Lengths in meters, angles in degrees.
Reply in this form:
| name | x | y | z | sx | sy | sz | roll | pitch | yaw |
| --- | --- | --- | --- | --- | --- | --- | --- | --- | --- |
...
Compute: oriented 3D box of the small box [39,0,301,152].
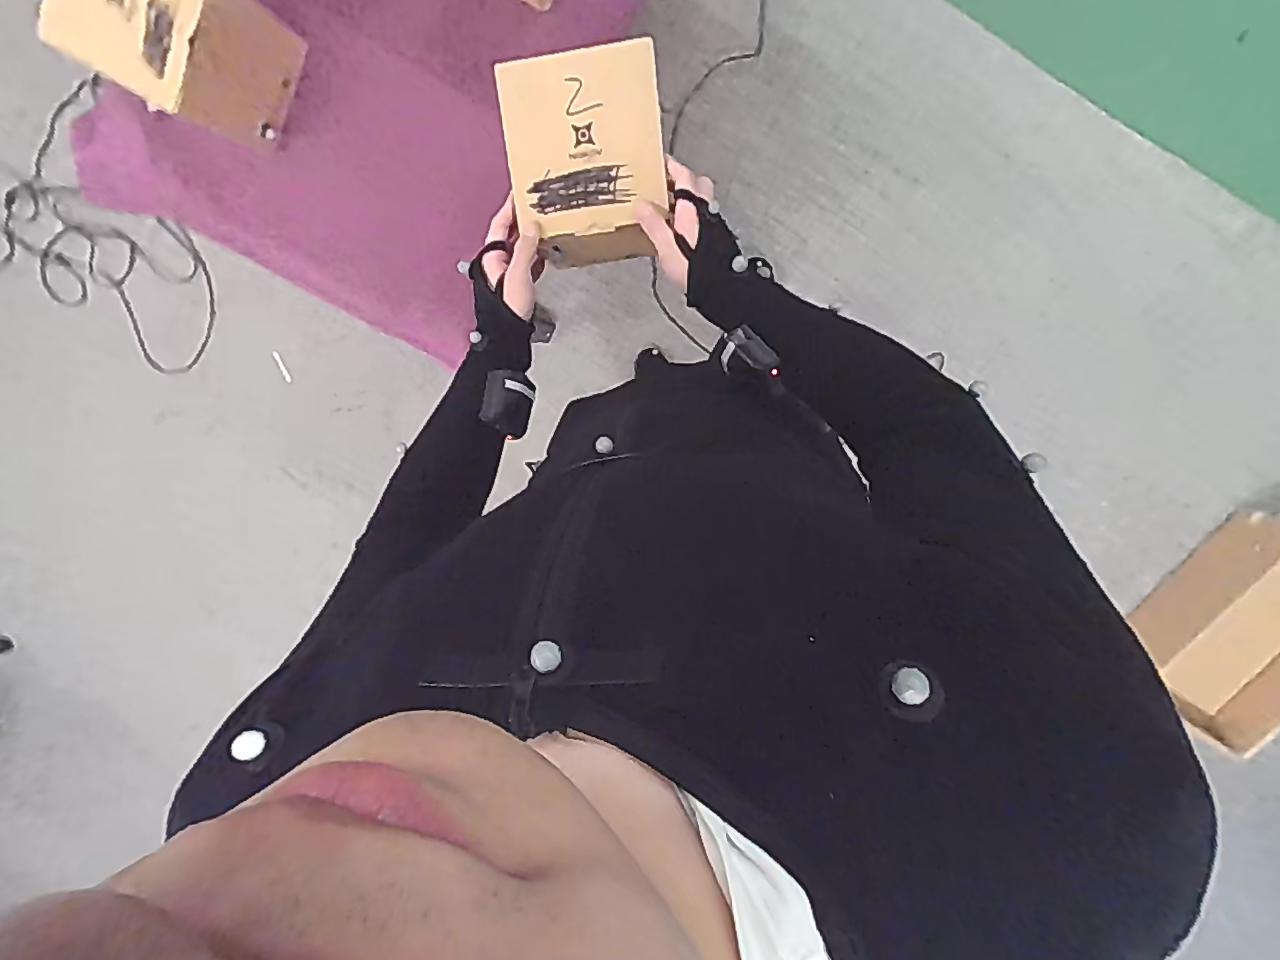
| name | x | y | z | sx | sy | sz | roll | pitch | yaw |
| --- | --- | --- | --- | --- | --- | --- | --- | --- | --- |
| small box | -0.589 | -0.561 | 0.700 | 0.179 | 0.176 | 0.168 | 29 | 104 | -3 |
